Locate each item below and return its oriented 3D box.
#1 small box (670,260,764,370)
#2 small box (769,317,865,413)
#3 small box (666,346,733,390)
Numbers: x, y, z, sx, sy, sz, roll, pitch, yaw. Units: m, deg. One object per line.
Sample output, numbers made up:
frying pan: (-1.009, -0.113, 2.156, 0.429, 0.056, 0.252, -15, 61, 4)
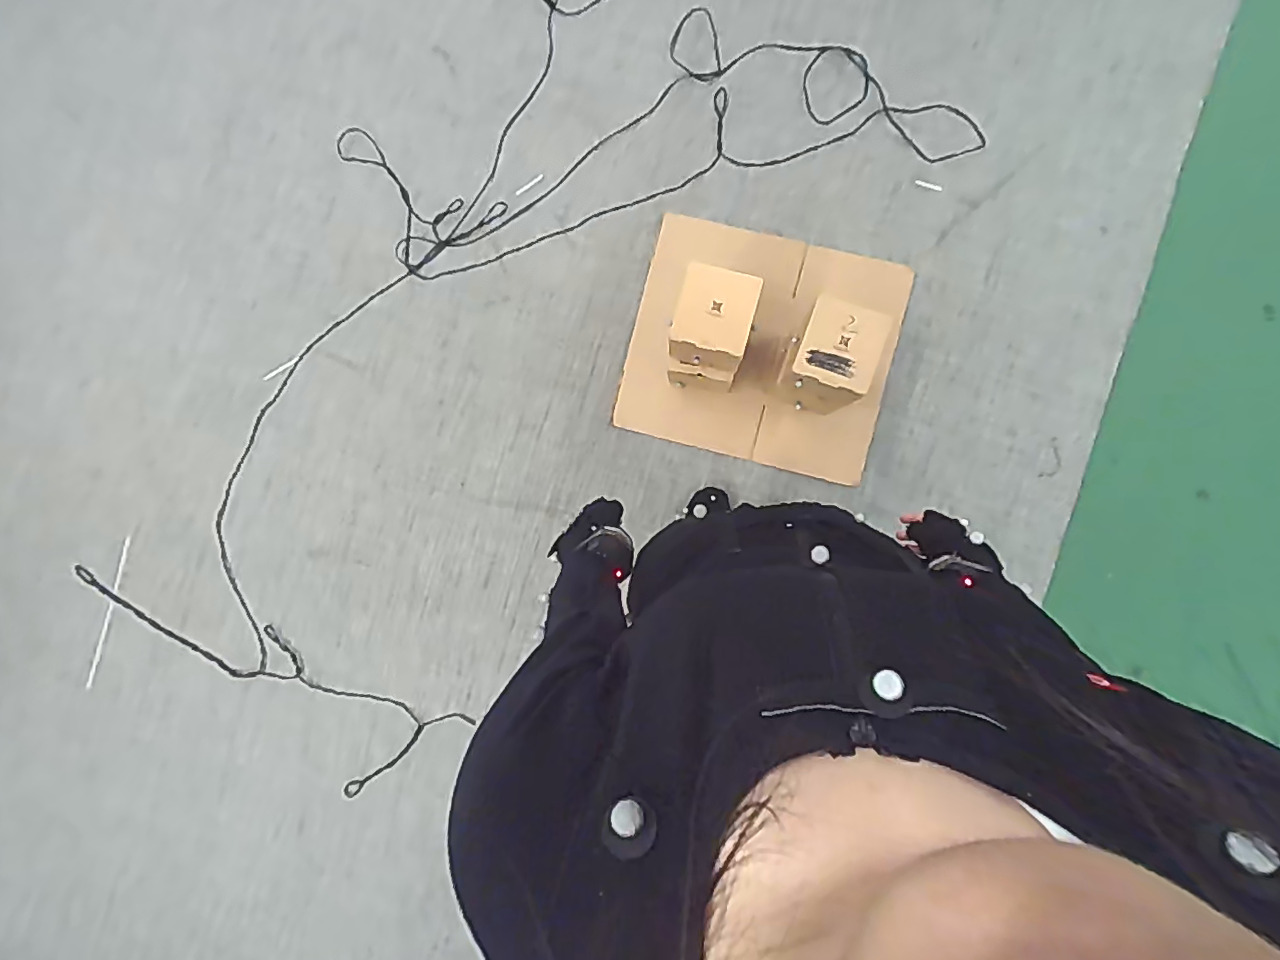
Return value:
small box: (0.168, -0.367, 1.233, 0.168, 0.176, 0.179, 15, 91, 4)
small box: (0.440, -0.285, 1.379, 0.168, 0.176, 0.179, 19, 92, 5)
small box: (0.168, -0.341, 1.396, 0.168, 0.176, 0.179, 13, 91, 4)
